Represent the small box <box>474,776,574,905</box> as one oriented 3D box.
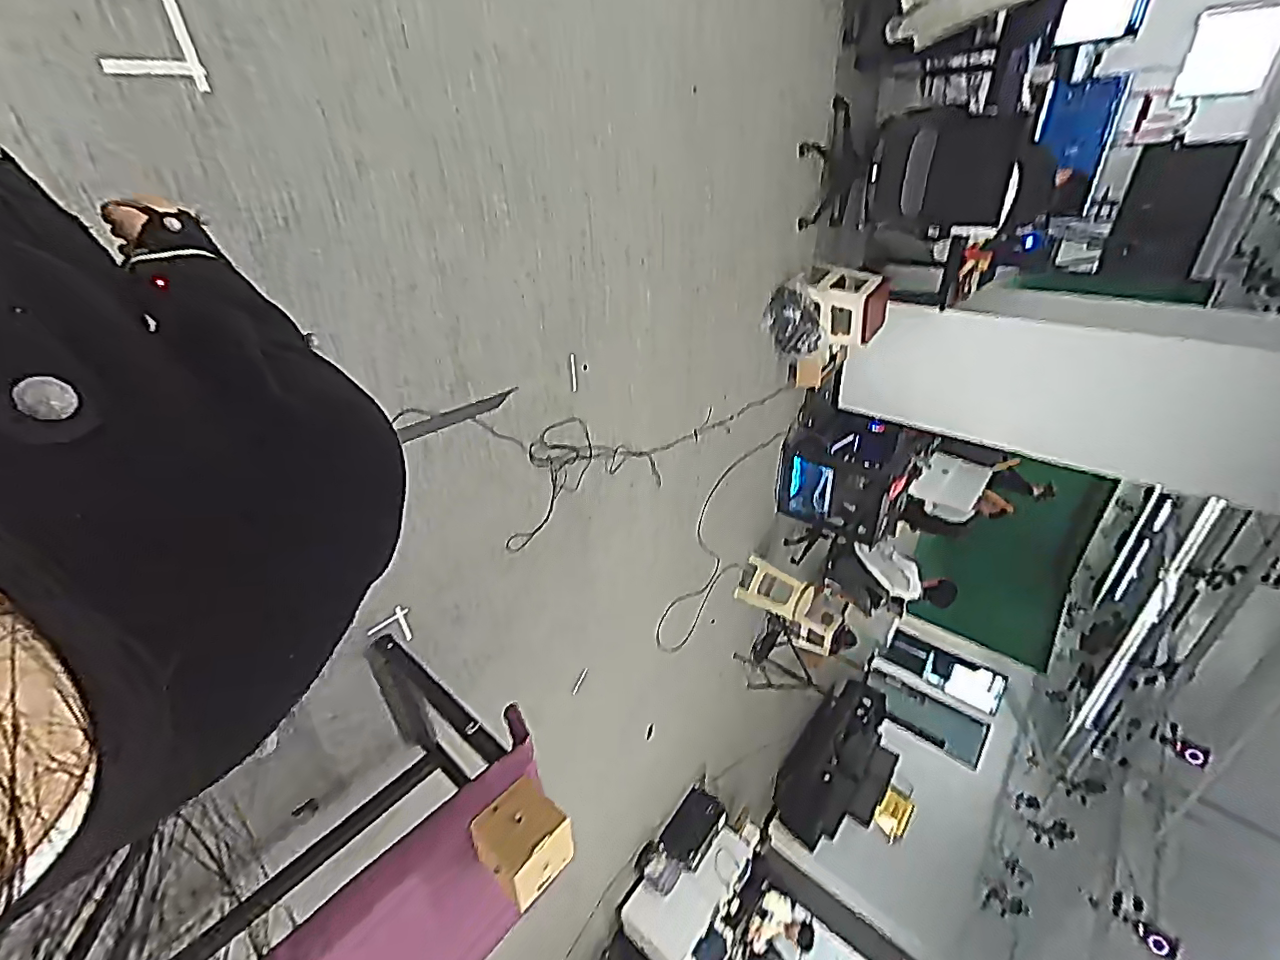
[{"bbox_3d":[-0.281,0.860,1.311,0.168,0.176,0.179,-30,130,-40],"label":"small box"}]
